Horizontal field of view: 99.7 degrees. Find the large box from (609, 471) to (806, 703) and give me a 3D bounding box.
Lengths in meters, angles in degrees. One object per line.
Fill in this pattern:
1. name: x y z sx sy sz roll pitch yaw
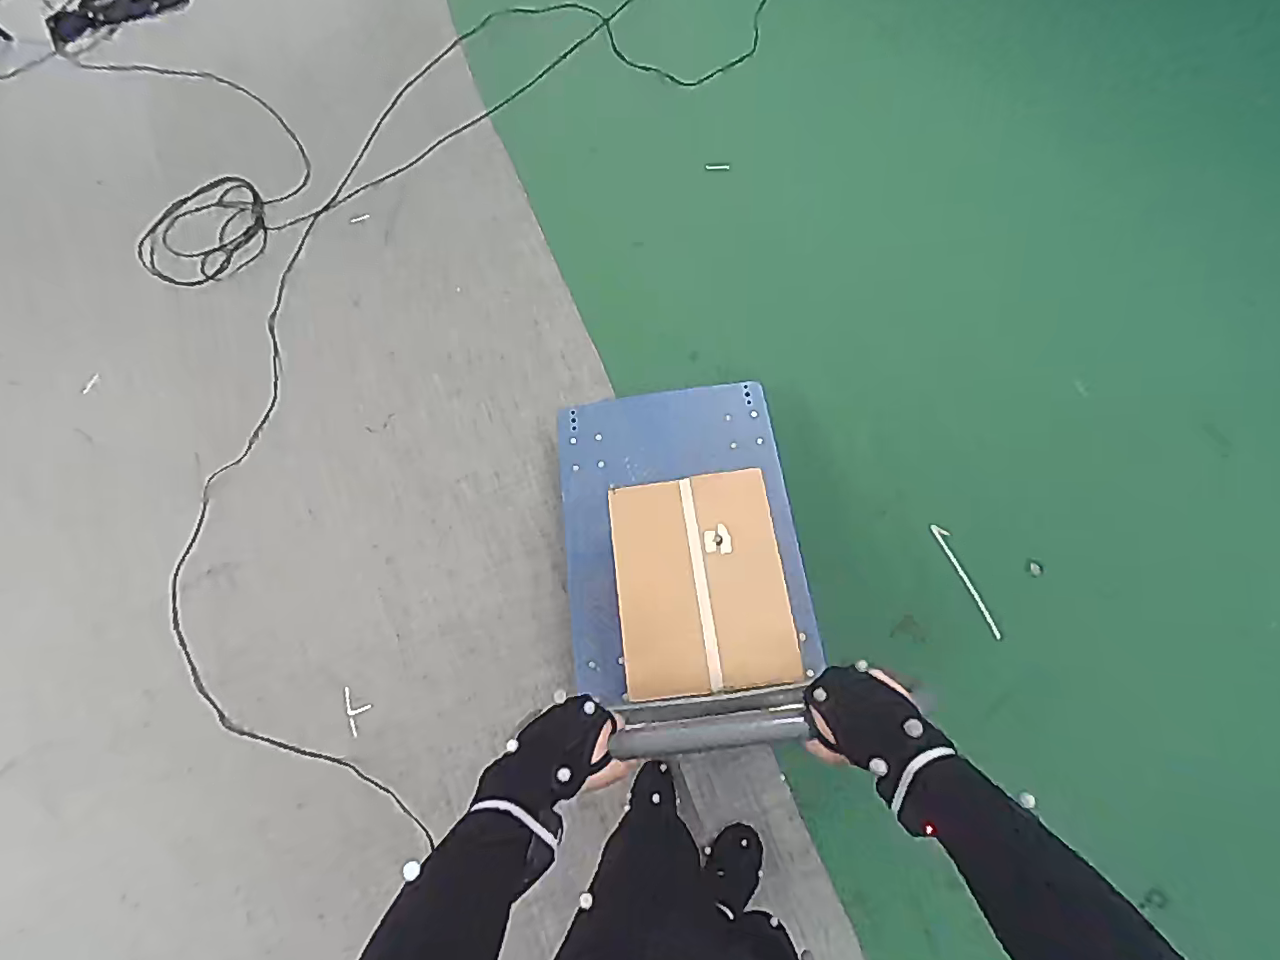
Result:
1. large box: 0.130 0.242 1.158 0.320 0.320 0.408 -8 68 2
